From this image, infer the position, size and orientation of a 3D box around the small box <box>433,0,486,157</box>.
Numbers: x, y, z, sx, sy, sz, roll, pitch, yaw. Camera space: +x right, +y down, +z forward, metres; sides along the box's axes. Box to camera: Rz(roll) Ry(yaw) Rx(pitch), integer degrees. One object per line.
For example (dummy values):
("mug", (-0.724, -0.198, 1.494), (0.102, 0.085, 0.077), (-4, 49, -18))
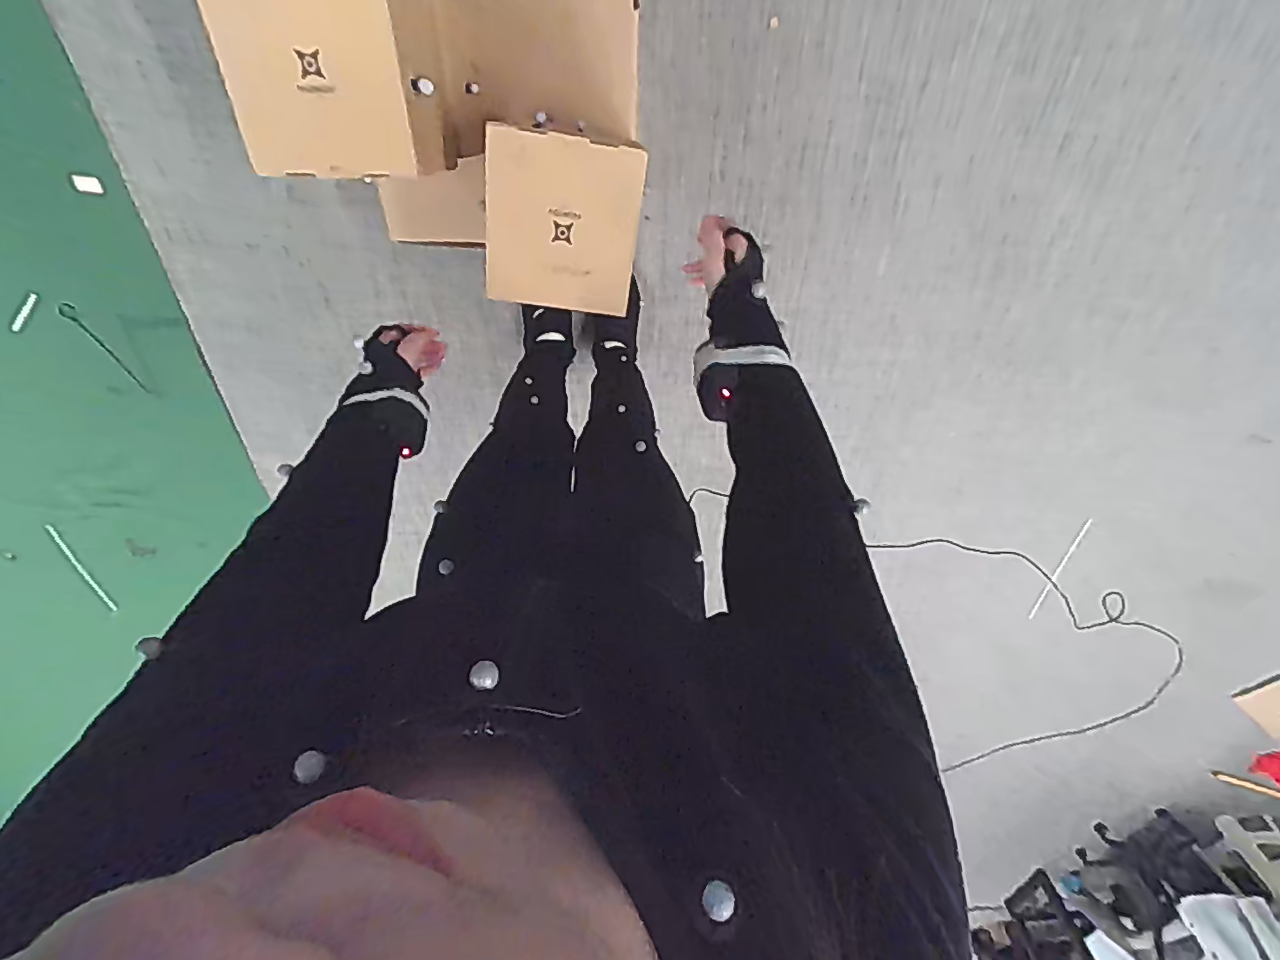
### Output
("small box", (-0.307, -0.523, 0.705), (0.179, 0.176, 0.168), (-1, 123, -2))

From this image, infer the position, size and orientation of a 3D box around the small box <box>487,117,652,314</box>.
("small box", (-0.087, -0.323, 0.654), (0.168, 0.176, 0.179), (6, 124, -8))

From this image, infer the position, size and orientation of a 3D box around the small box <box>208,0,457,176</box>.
("small box", (-0.304, -0.430, 0.570), (0.168, 0.176, 0.179), (0, 125, -3))

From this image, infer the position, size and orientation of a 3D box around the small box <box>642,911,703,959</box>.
("small box", (0.095, 1.400, 1.596), (0.168, 0.176, 0.179), (-1, 127, -3))
